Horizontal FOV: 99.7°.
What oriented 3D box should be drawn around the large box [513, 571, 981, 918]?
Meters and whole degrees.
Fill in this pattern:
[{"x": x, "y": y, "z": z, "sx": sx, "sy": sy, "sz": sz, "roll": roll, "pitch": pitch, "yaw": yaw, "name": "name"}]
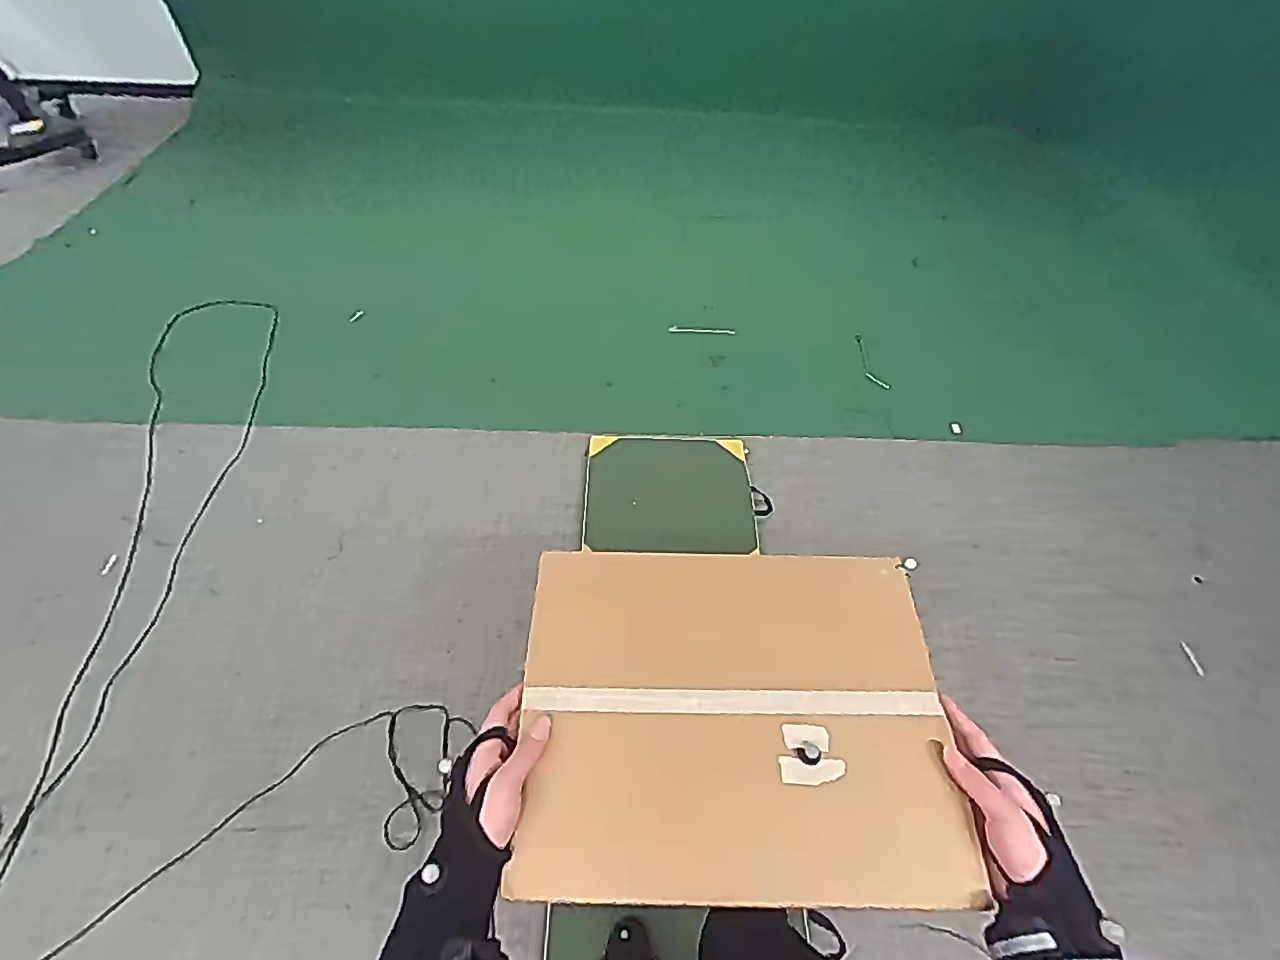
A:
[{"x": 0.087, "y": 0.315, "z": 0.655, "sx": 0.408, "sy": 0.320, "sz": 0.320, "roll": 1, "pitch": 57, "yaw": 0, "name": "large box"}]
